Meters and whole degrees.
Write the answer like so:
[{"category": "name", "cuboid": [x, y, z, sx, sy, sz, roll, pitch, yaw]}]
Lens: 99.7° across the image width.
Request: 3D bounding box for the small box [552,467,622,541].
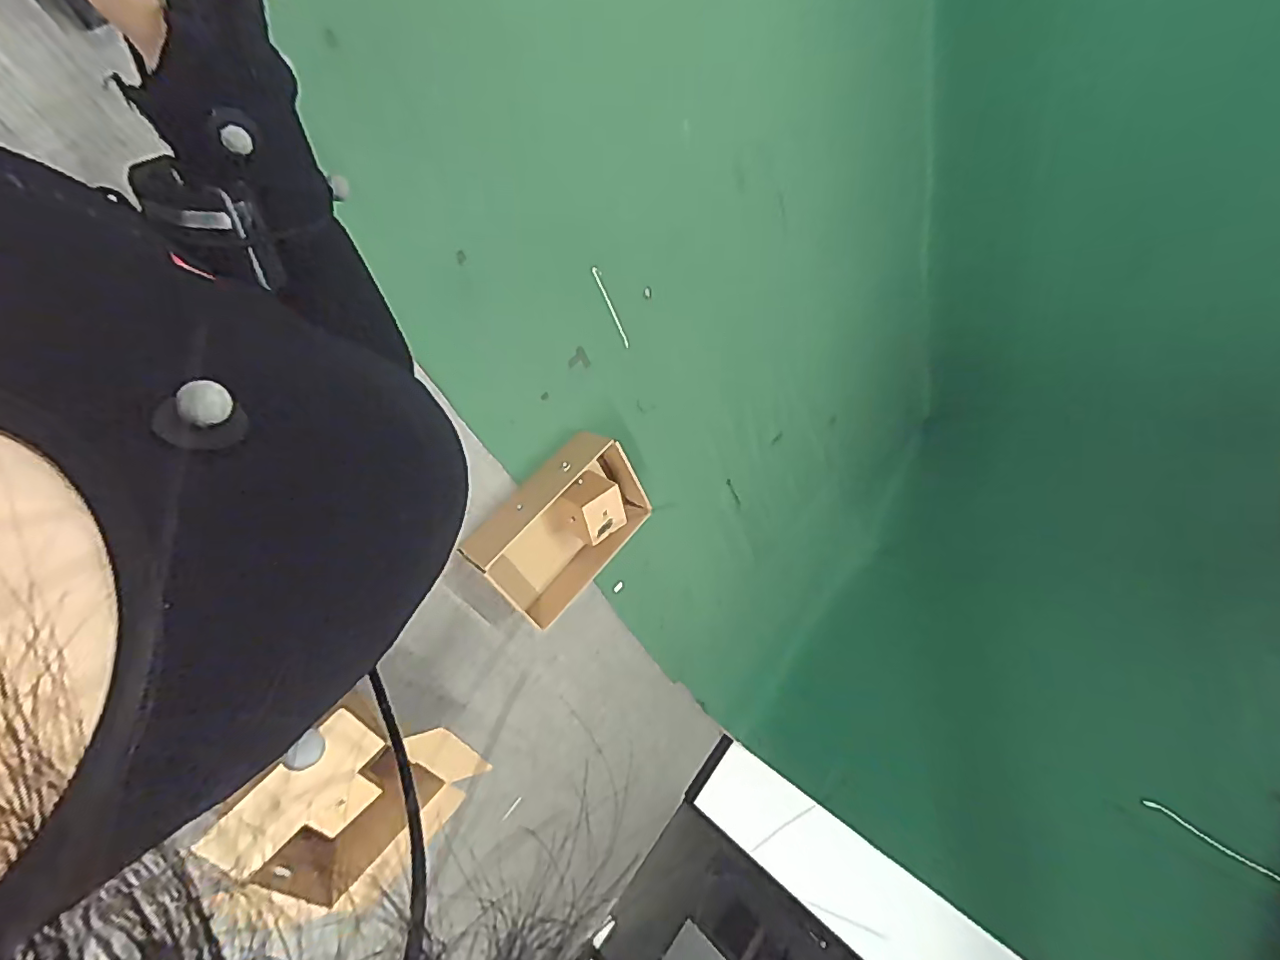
[{"category": "small box", "cuboid": [-0.189, 0.081, 1.928, 0.168, 0.176, 0.179, -35, 130, -30]}]
